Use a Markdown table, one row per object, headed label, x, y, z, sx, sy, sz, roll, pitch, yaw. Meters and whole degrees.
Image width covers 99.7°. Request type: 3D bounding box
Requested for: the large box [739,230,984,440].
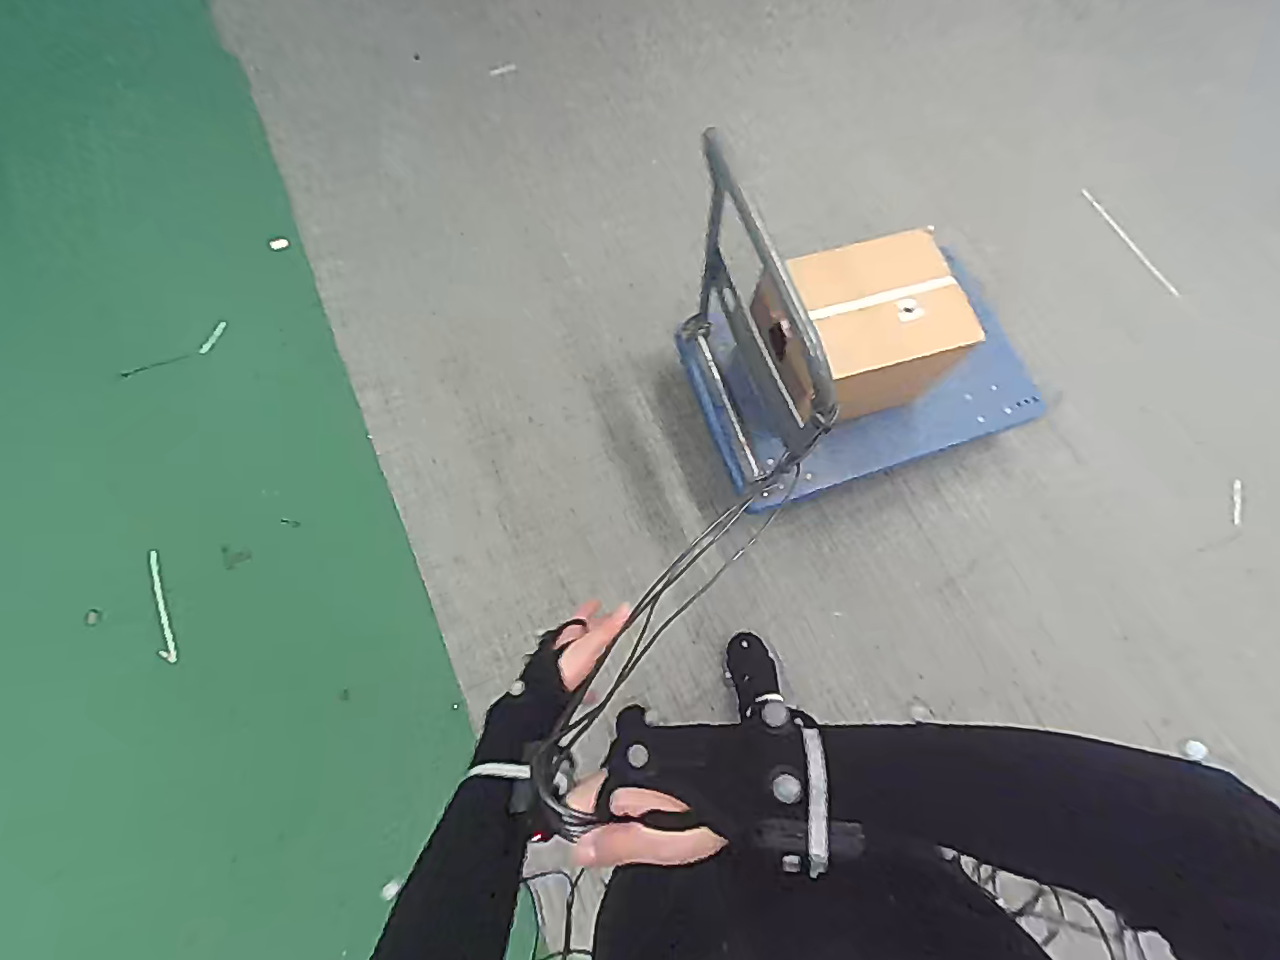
| label | x | y | z | sx | sy | sz | roll | pitch | yaw |
| --- | --- | --- | --- | --- | --- | --- | --- | --- | --- |
| large box | 0.505 | -0.337 | 1.324 | 0.408 | 0.320 | 0.320 | -16 | 74 | -6 |
